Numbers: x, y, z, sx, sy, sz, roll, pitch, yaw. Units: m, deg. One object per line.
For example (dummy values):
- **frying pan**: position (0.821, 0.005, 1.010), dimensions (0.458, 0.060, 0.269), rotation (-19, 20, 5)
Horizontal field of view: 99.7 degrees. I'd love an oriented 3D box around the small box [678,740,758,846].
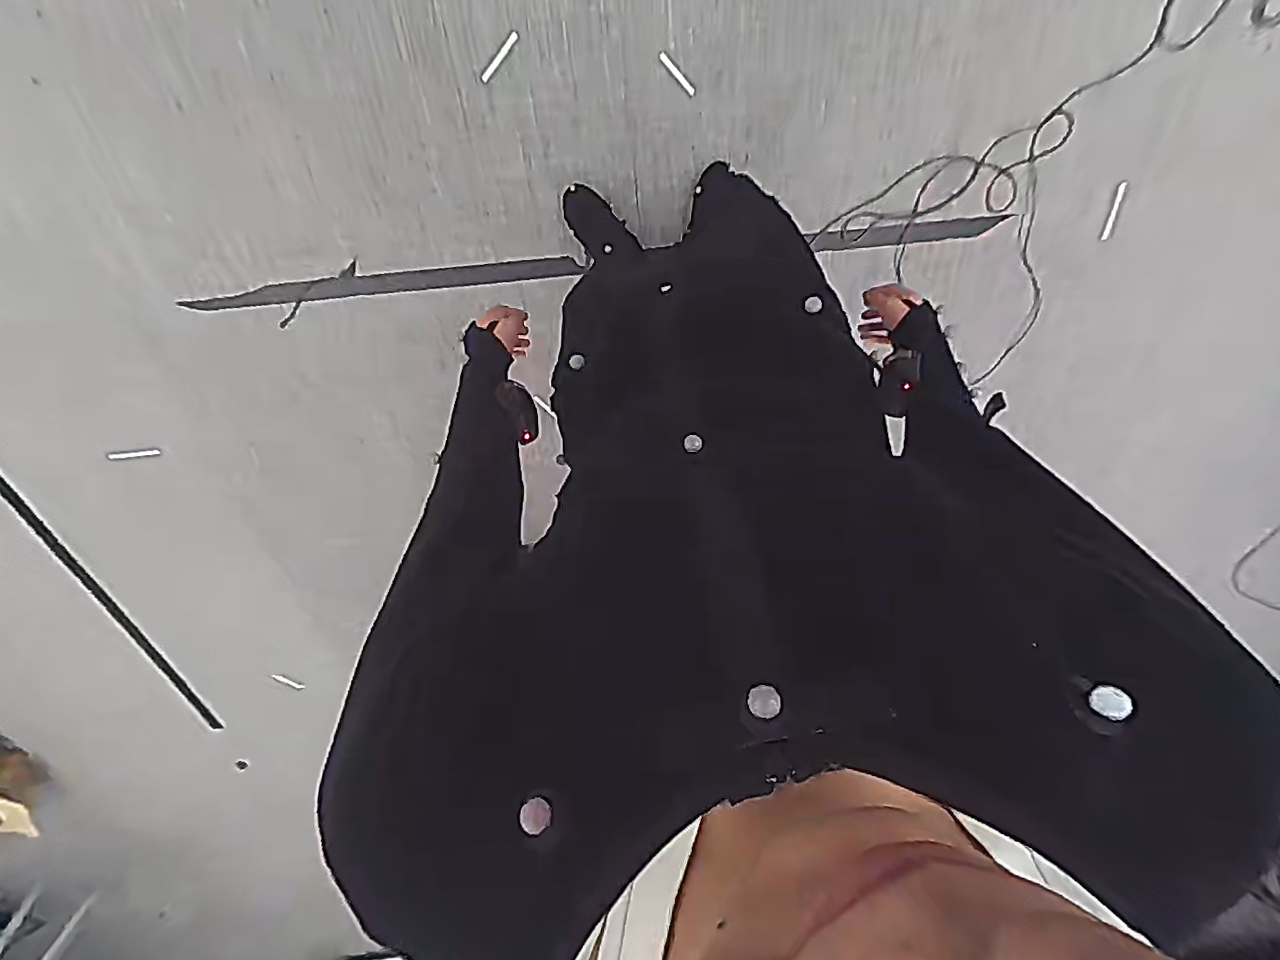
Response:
- **small box**: position (0.190, 0.778, 1.350), dimensions (0.179, 0.176, 0.168), rotation (-8, 125, 2)
